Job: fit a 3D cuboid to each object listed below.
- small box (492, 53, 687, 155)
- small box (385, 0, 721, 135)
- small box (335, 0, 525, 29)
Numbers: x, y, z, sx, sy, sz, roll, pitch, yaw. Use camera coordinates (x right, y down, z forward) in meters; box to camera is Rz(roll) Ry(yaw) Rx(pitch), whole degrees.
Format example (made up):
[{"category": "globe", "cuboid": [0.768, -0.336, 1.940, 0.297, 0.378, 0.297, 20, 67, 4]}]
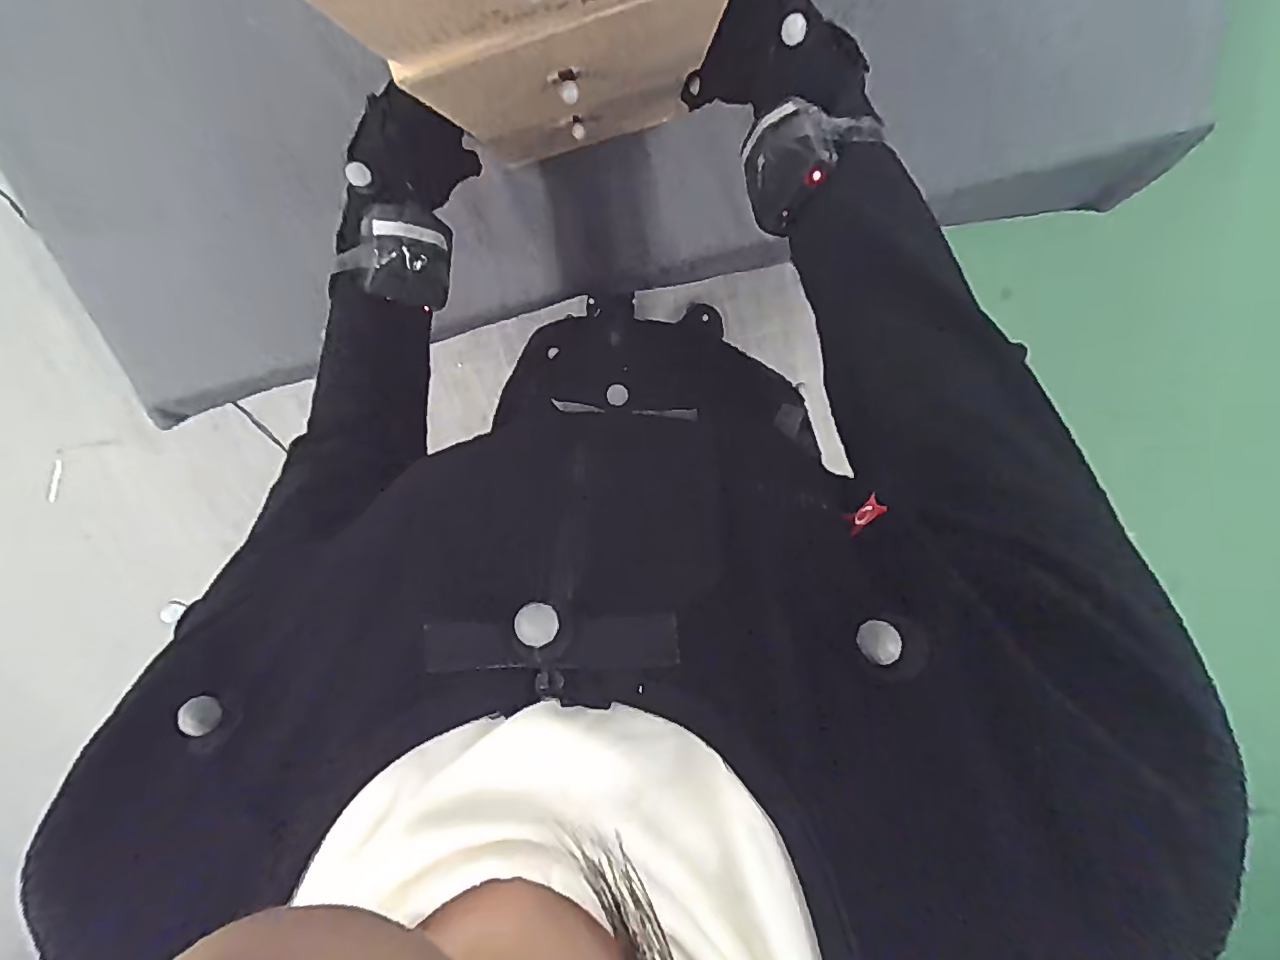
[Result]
[{"category": "small box", "cuboid": [-0.069, -0.390, 0.446, 0.179, 0.176, 0.168, -15, 114, 4]}, {"category": "small box", "cuboid": [-0.058, -0.319, 0.298, 0.179, 0.176, 0.168, -17, 114, 6]}, {"category": "small box", "cuboid": [-0.060, -0.260, 0.145, 0.168, 0.176, 0.179, -11, 115, 4]}]
